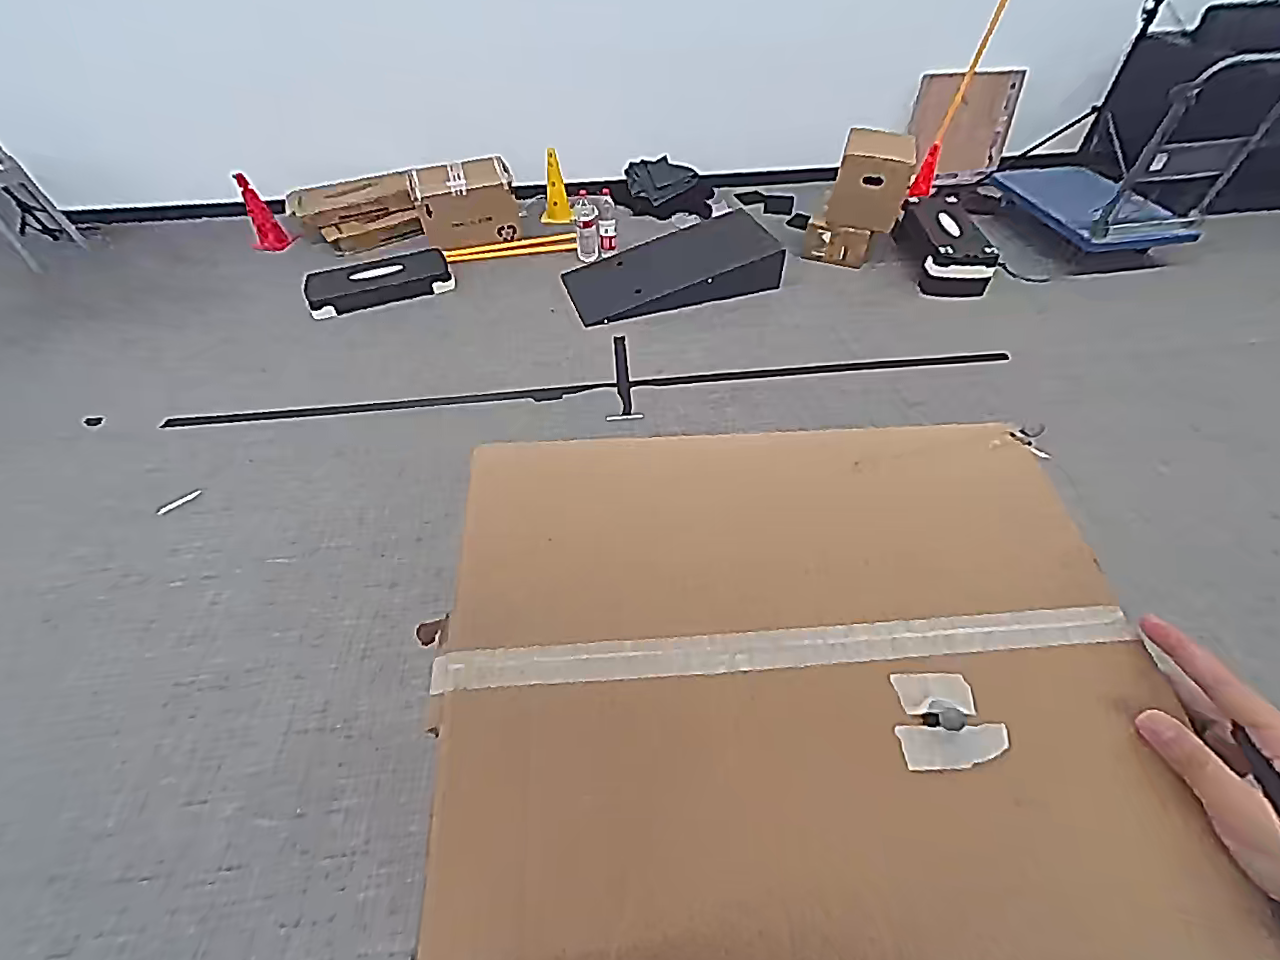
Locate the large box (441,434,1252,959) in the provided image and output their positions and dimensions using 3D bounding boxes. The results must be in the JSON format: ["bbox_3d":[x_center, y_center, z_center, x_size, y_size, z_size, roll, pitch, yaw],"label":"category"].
[{"bbox_3d":[0.086,0.183,0.453,0.408,0.320,0.320,-3,59,-4],"label":"large box"}]
